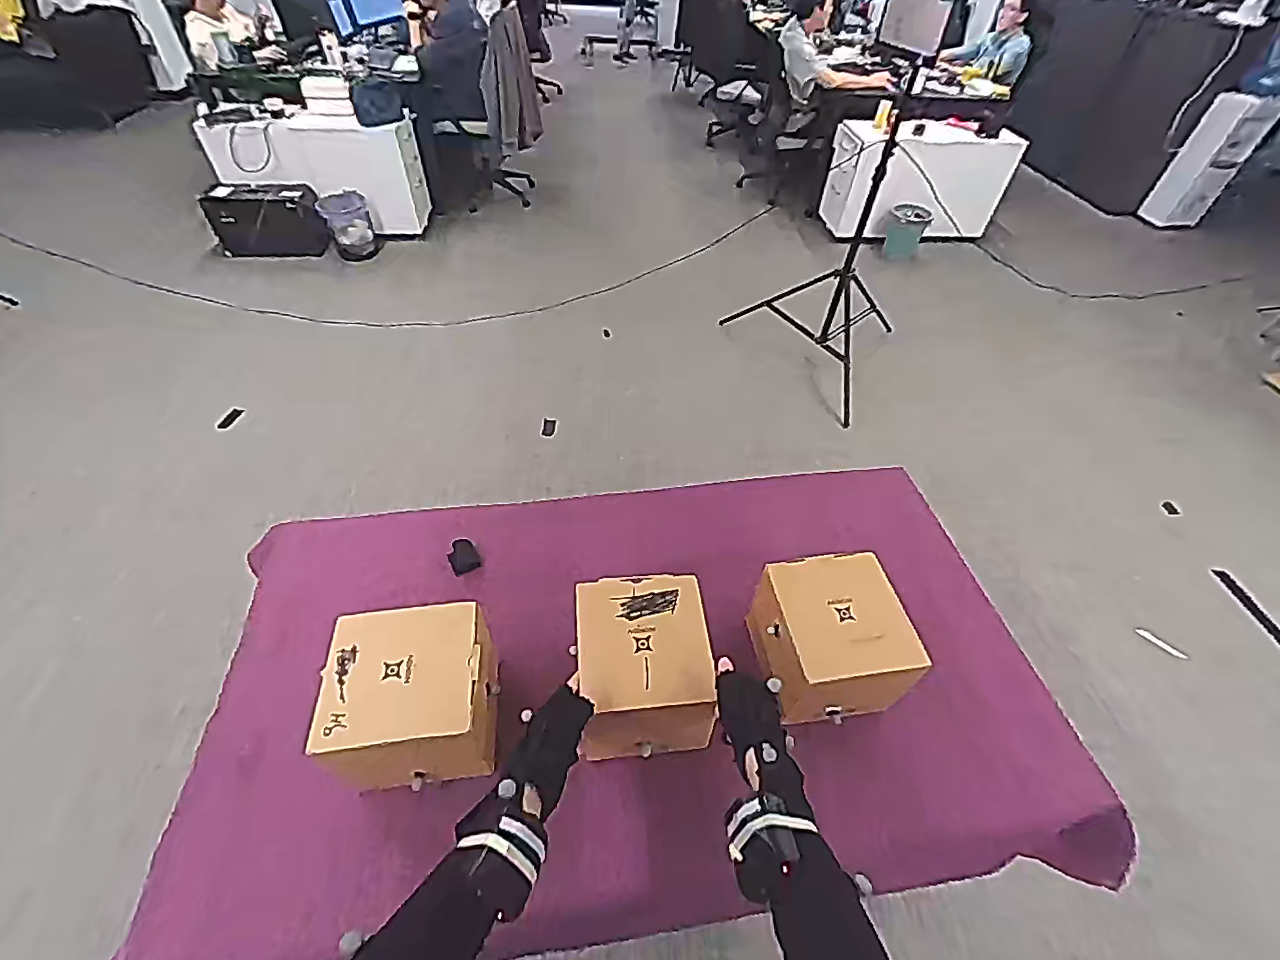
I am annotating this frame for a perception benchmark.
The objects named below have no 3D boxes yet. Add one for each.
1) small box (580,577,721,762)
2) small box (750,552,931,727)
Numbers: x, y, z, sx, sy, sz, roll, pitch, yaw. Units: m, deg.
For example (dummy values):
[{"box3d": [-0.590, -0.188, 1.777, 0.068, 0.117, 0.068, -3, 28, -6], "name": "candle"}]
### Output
[{"box3d": [0.004, 0.255, 0.733, 0.168, 0.176, 0.179, -4, 45, -4], "name": "small box"}, {"box3d": [0.270, 0.230, 0.782, 0.168, 0.176, 0.179, -6, 48, -7], "name": "small box"}]
